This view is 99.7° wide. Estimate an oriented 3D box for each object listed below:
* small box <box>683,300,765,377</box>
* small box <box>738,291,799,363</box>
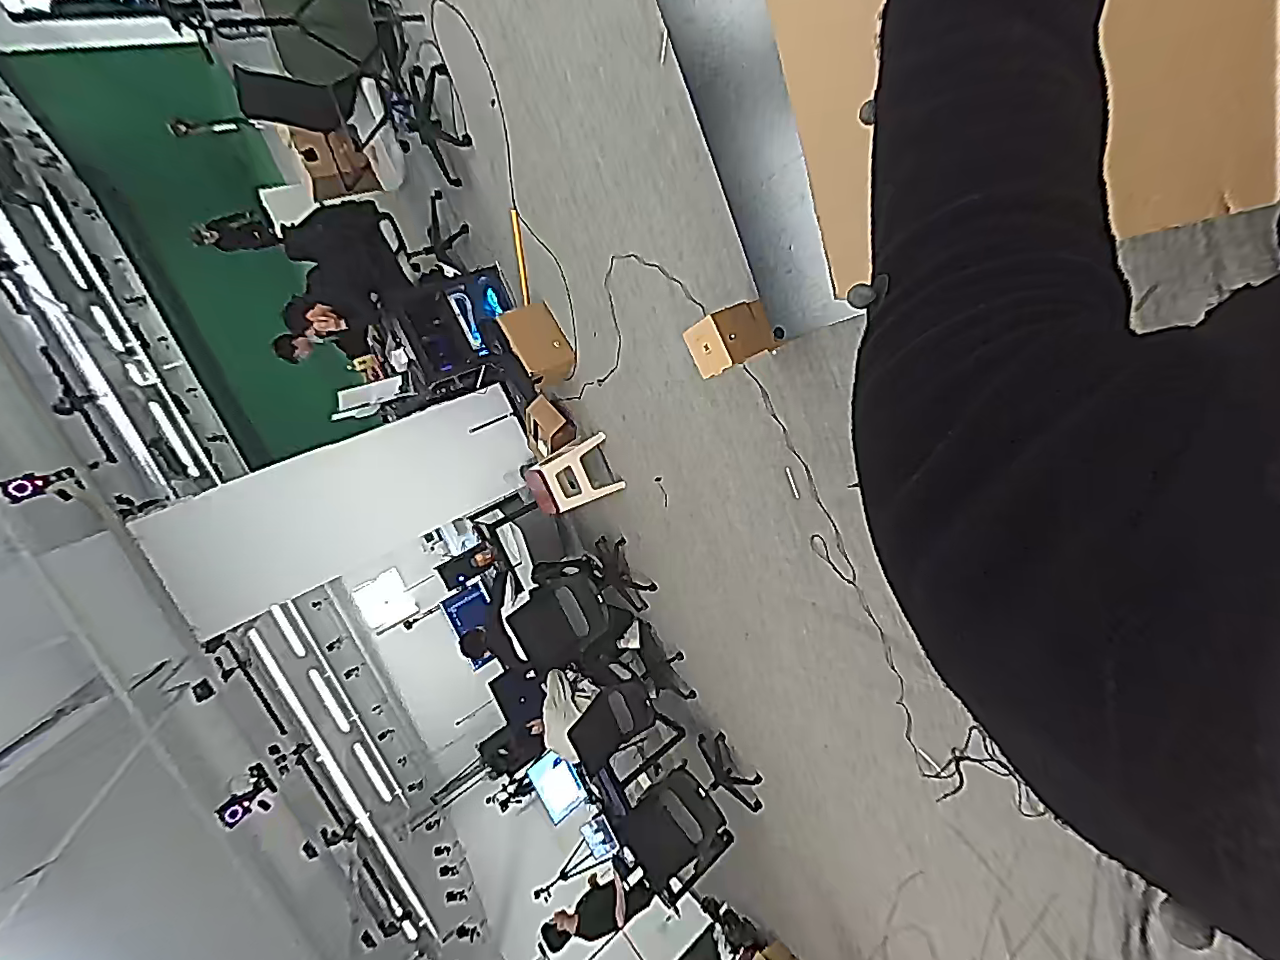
[{"bbox_3d":[0.279,-0.465,1.781,0.168,0.176,0.179,-17,99,61],"label":"small box"},{"bbox_3d":[0.409,-0.529,1.855,0.168,0.176,0.179,-10,107,62],"label":"small box"}]
